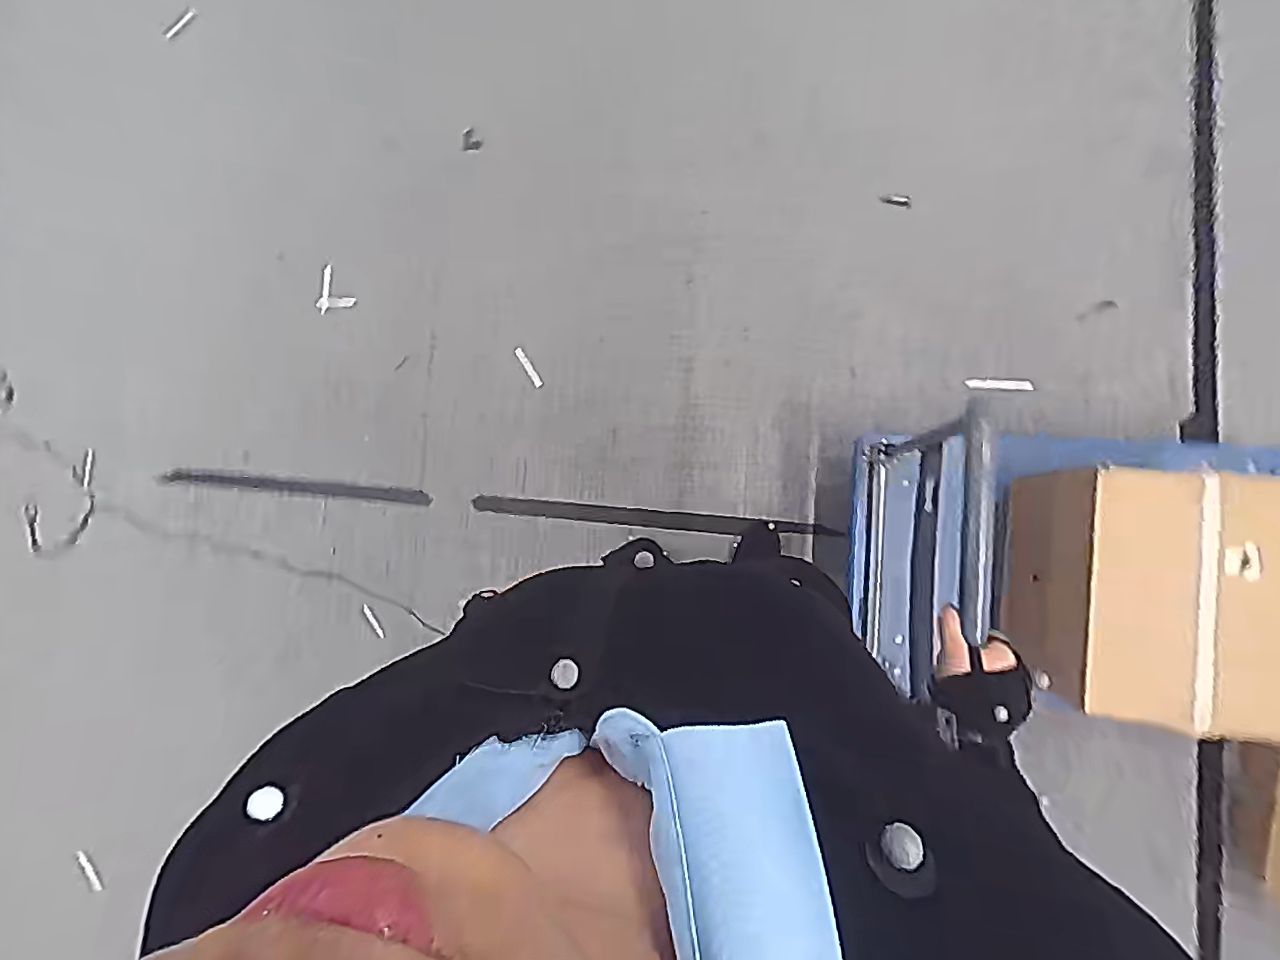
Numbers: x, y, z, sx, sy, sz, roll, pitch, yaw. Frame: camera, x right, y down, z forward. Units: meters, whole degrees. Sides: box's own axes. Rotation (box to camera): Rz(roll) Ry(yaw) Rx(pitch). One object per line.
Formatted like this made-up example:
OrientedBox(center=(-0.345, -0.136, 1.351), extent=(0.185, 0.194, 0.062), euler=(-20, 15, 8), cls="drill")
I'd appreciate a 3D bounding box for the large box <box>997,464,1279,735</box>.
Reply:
OrientedBox(center=(0.899, 0.194, 0.996), extent=(0.320, 0.320, 0.408), euler=(5, 87, 10), cls="large box")
